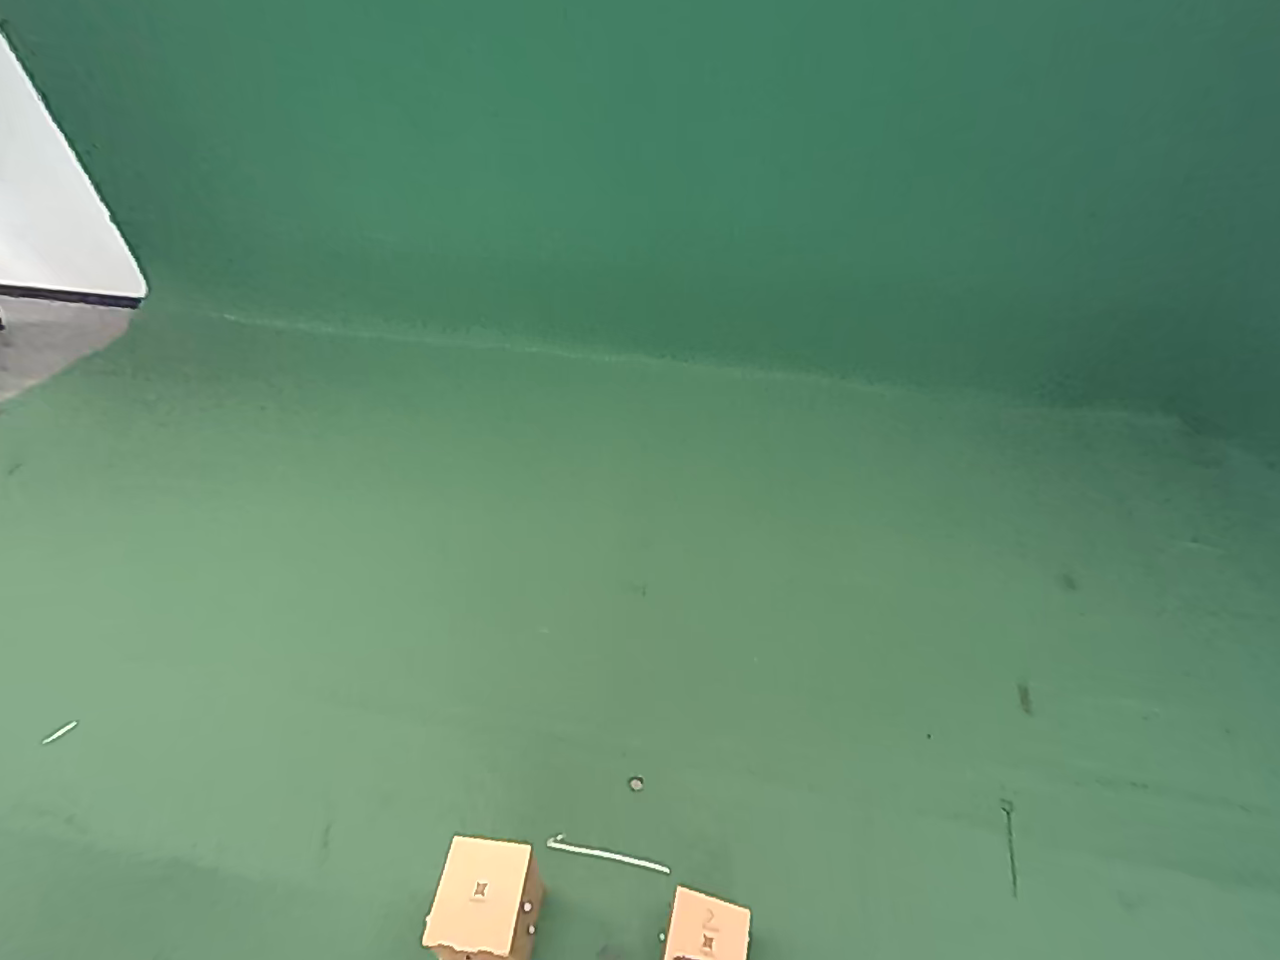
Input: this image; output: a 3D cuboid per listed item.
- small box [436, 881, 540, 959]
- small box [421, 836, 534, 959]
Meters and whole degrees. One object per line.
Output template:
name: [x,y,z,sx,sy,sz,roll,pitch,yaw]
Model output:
small box: [-0.327,0.986,1.207,0.168,0.176,0.179,6,42,4]
small box: [-0.318,0.861,1.103,0.168,0.176,0.179,5,43,3]
